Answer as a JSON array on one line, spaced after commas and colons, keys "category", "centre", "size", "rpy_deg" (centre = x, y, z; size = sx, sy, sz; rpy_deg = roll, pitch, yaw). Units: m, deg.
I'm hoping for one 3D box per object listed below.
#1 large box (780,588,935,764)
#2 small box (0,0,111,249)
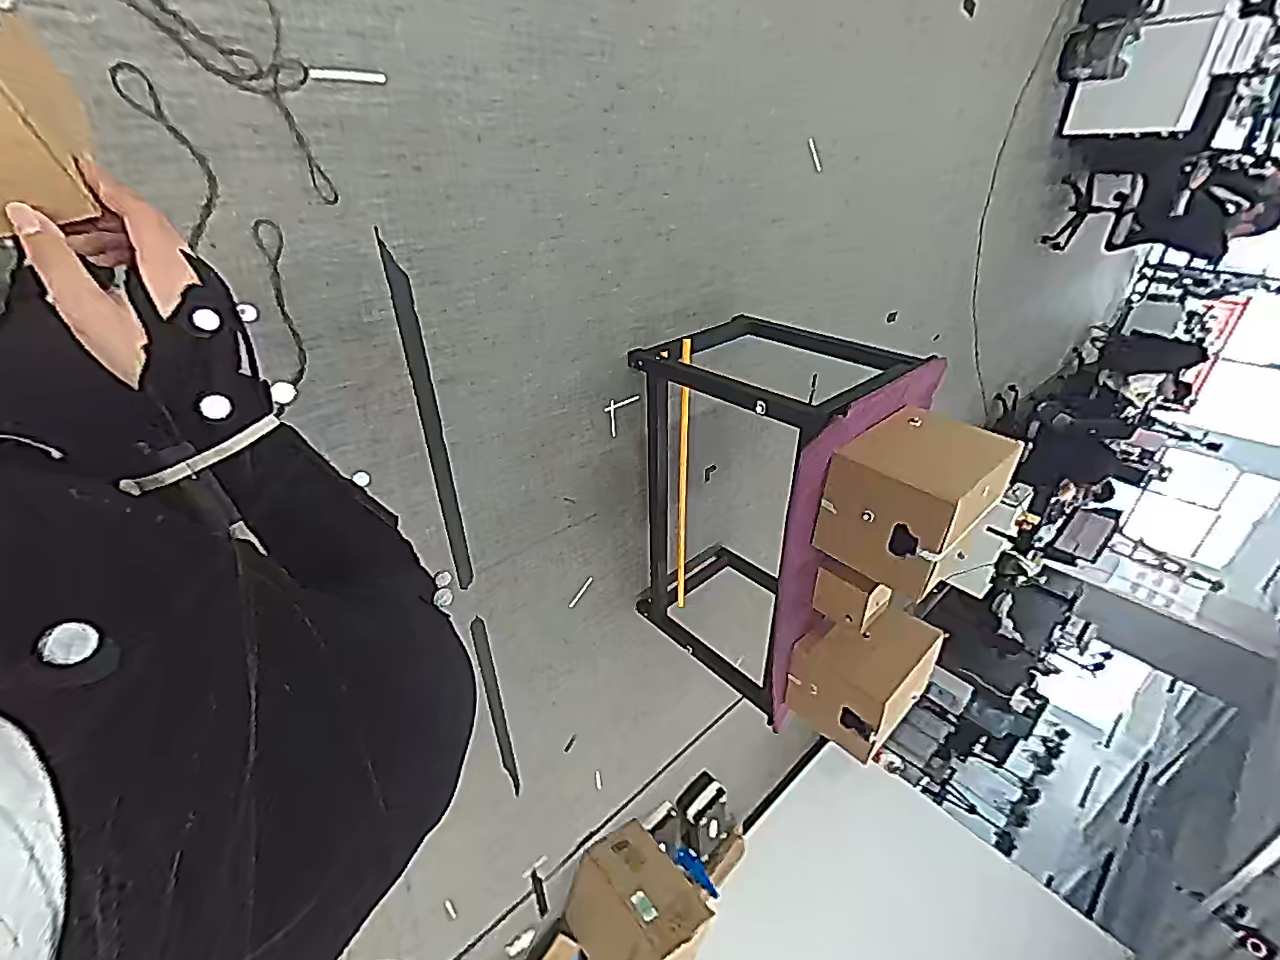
[{"category": "large box", "centre": [0.723, 0.640, 1.825], "size": [0.408, 0.320, 0.320], "rpy_deg": [-27, 131, -35]}, {"category": "small box", "centre": [-0.396, -0.213, 0.236], "size": [0.168, 0.176, 0.179], "rpy_deg": [-26, 150, -21]}]
